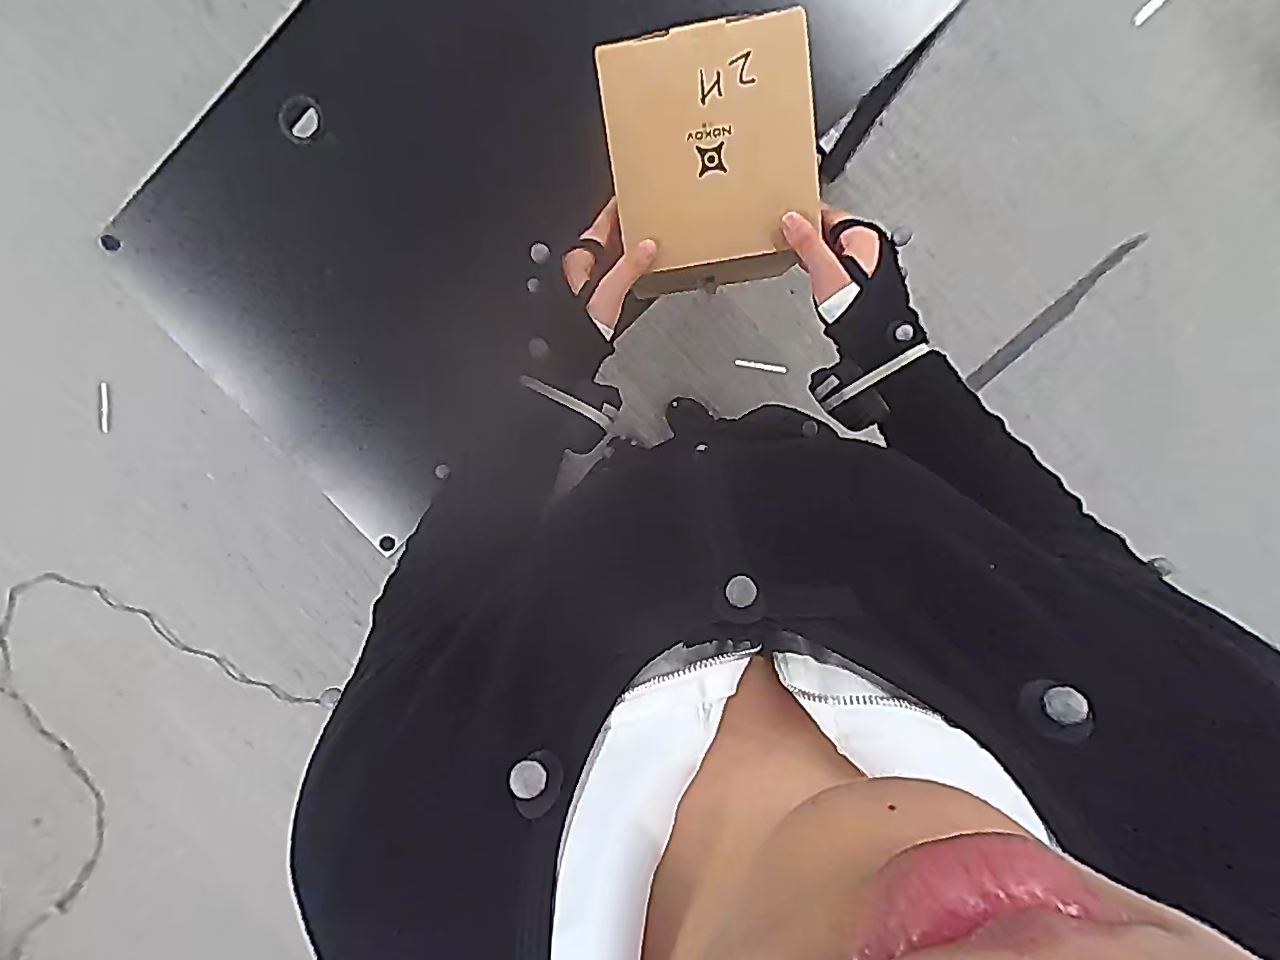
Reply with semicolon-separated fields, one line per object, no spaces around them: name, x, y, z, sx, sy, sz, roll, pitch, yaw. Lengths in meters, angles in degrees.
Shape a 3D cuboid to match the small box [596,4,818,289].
small box;0.061;-0.286;0.512;0.168;0.176;0.179;-7;101;5
